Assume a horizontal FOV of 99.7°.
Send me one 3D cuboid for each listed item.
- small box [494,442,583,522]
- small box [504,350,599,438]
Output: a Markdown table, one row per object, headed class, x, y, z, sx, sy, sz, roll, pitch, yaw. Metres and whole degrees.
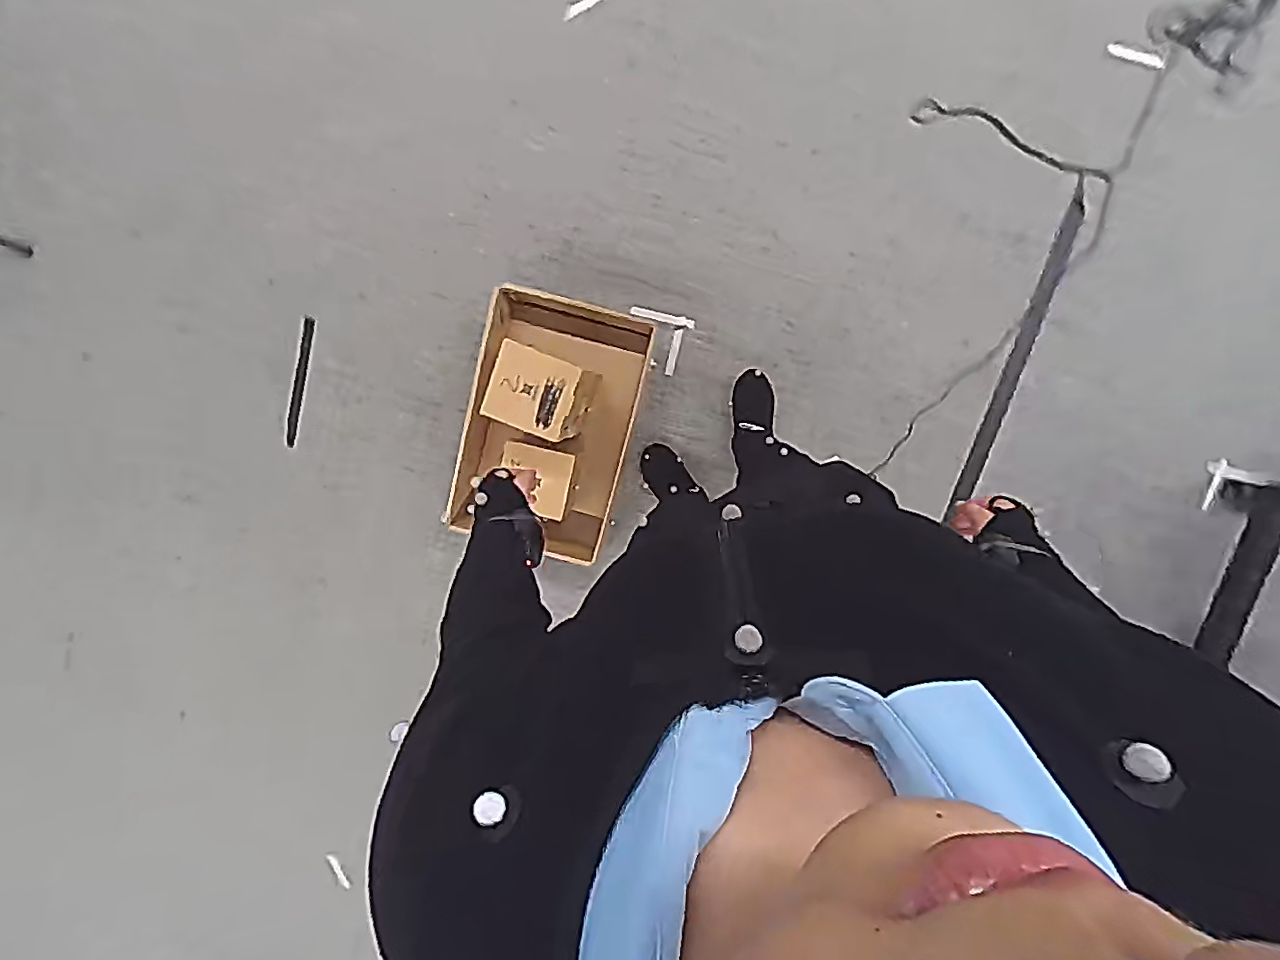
| class | x | y | z | sx | sy | sz | roll | pitch | yaw |
| --- | --- | --- | --- | --- | --- | --- | --- | --- | --- |
| small box | -0.251 | -0.002 | 1.380 | 0.179 | 0.176 | 0.168 | 13 | 95 | 1 |
| small box | -0.214 | -0.214 | 1.354 | 0.179 | 0.176 | 0.168 | 19 | 100 | -1 |
